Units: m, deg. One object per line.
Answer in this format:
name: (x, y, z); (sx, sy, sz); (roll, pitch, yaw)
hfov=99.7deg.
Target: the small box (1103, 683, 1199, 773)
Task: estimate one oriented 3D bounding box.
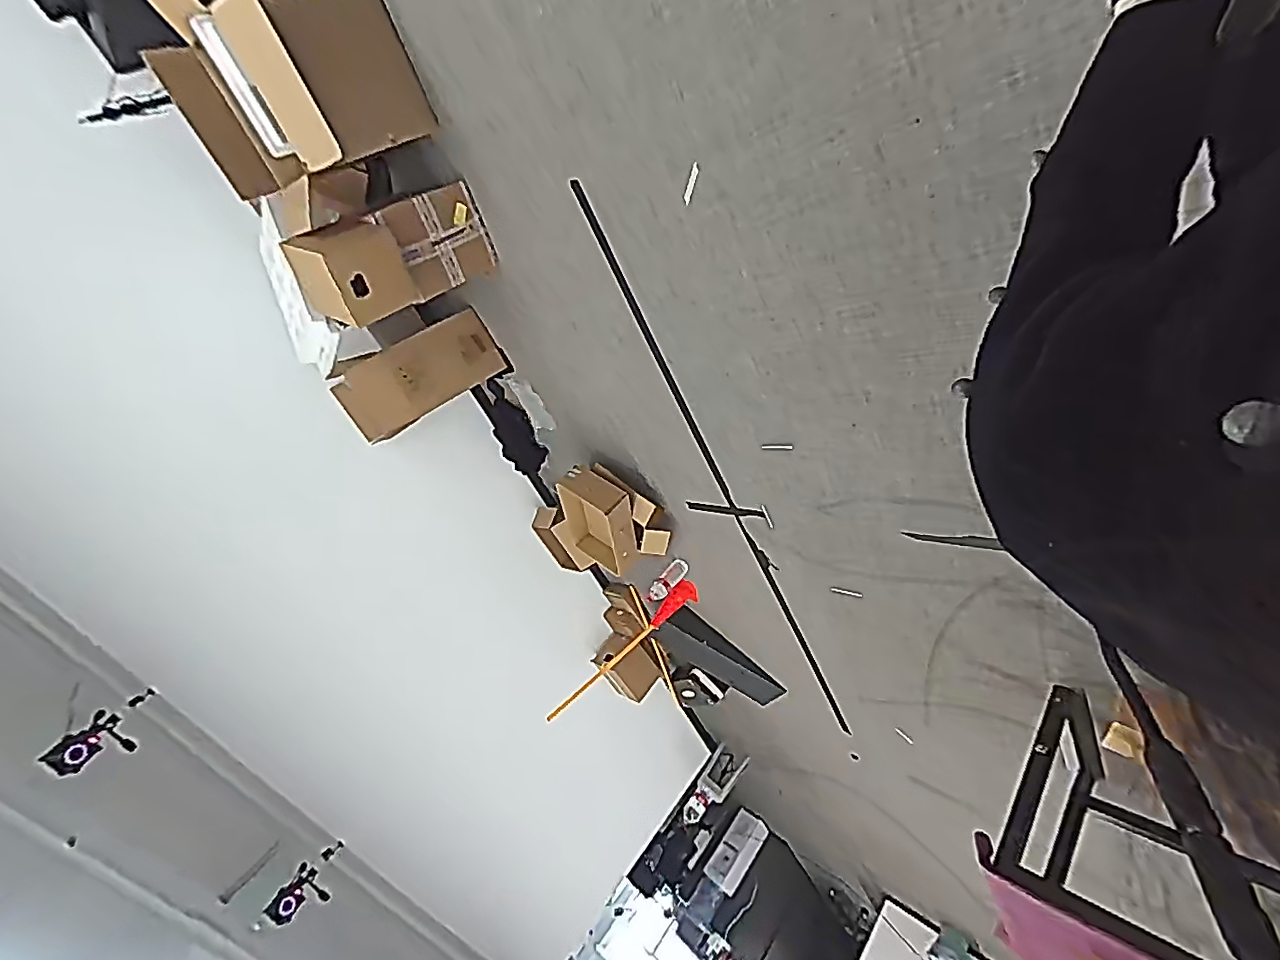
small box: (1.624, 0.777, 1.720); (0.179, 0.176, 0.168); (20, 141, 39)
